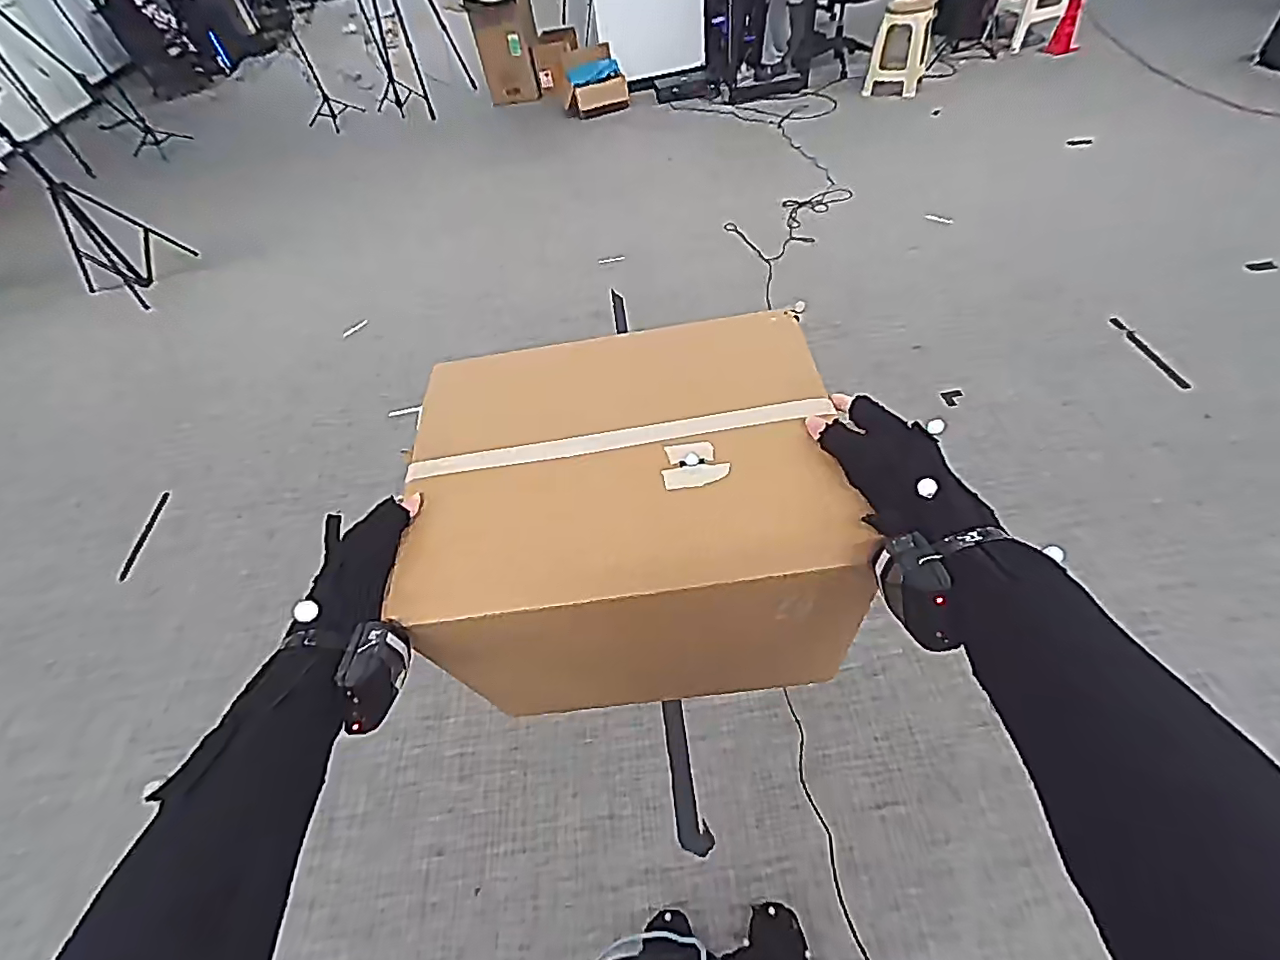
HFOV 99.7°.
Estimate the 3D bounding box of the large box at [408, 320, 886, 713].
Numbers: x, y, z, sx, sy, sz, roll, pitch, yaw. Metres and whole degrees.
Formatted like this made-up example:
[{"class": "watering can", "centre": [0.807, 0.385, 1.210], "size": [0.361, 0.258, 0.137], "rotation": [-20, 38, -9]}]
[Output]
[{"class": "large box", "centre": [0.005, 0.057, 0.643], "size": [0.408, 0.320, 0.320], "rotation": [-8, 54, 3]}]
